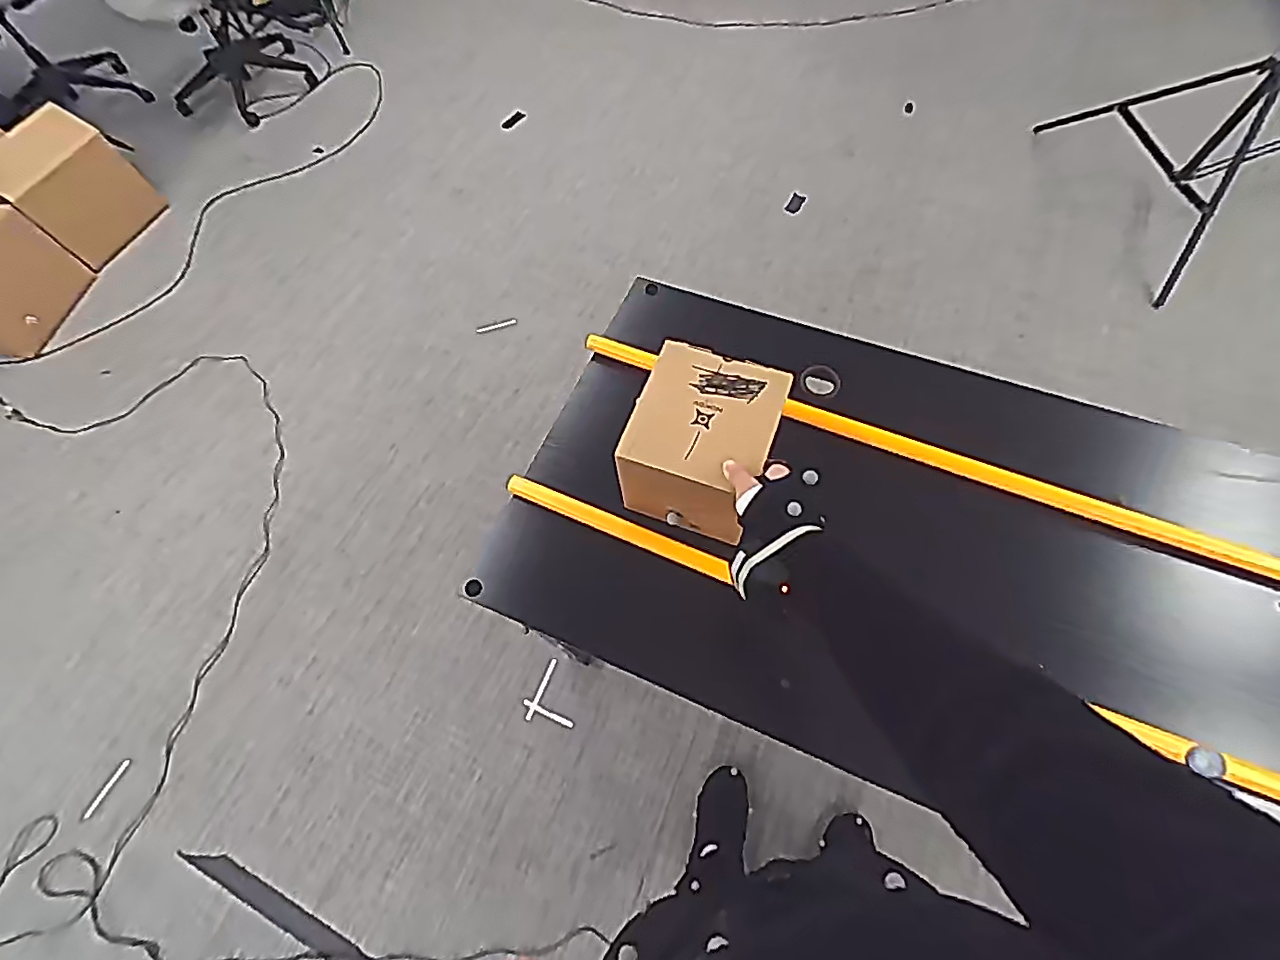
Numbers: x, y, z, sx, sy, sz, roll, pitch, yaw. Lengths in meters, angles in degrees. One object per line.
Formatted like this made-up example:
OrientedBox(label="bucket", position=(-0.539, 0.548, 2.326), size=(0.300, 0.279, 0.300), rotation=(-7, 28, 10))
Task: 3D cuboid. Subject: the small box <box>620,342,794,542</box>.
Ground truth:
OrientedBox(label="small box", position=(0.085, -0.043, 0.708), size=(0.168, 0.176, 0.179), rotation=(19, 68, 12))
